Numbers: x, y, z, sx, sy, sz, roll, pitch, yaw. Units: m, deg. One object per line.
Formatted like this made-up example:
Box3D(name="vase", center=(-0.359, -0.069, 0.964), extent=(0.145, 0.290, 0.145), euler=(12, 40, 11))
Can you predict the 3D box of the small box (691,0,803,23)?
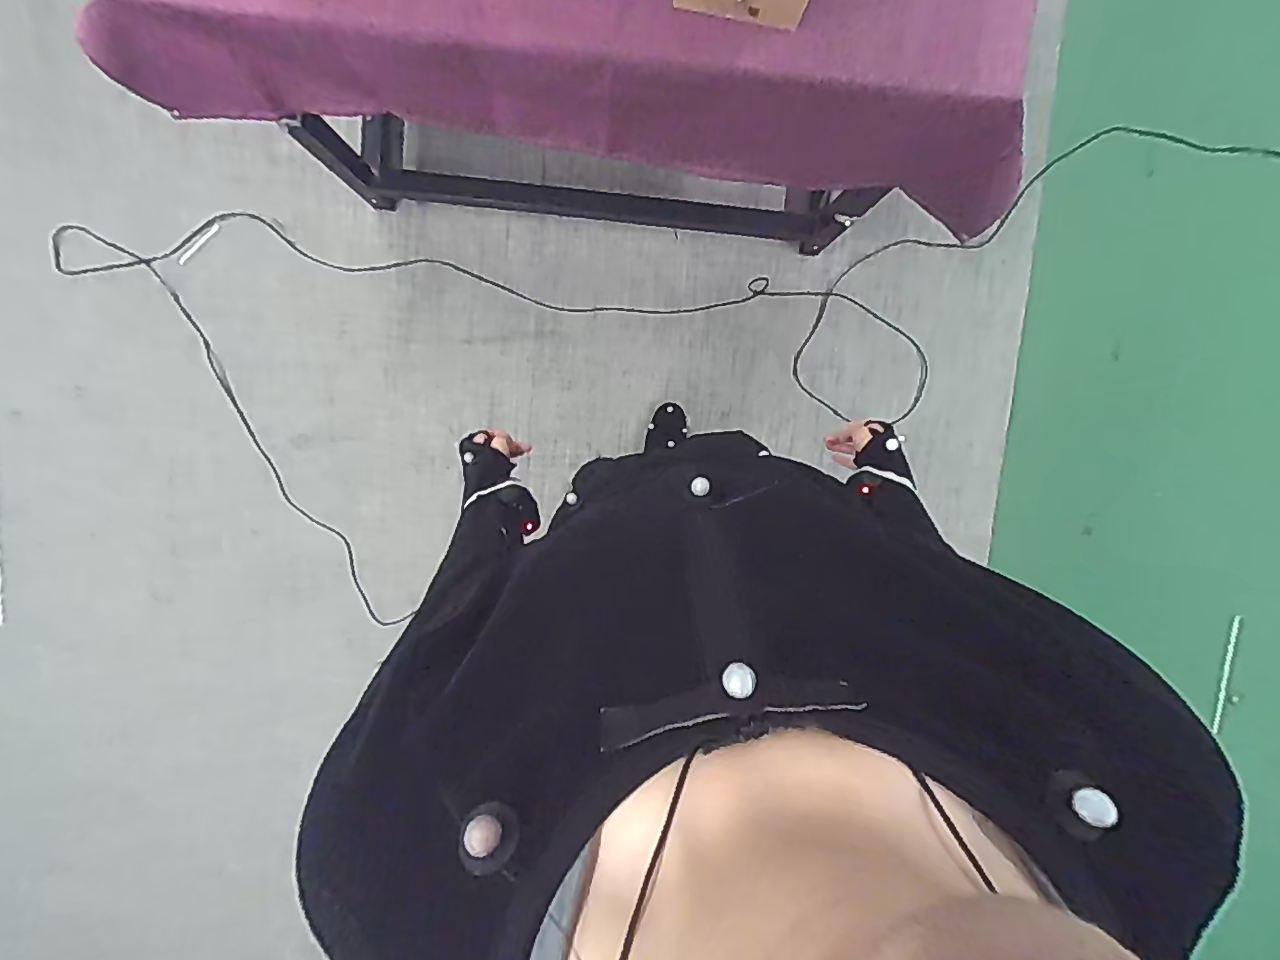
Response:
Box3D(name="small box", center=(0.139, -0.681, 0.608), extent=(0.168, 0.176, 0.179), euler=(10, 95, -2))
